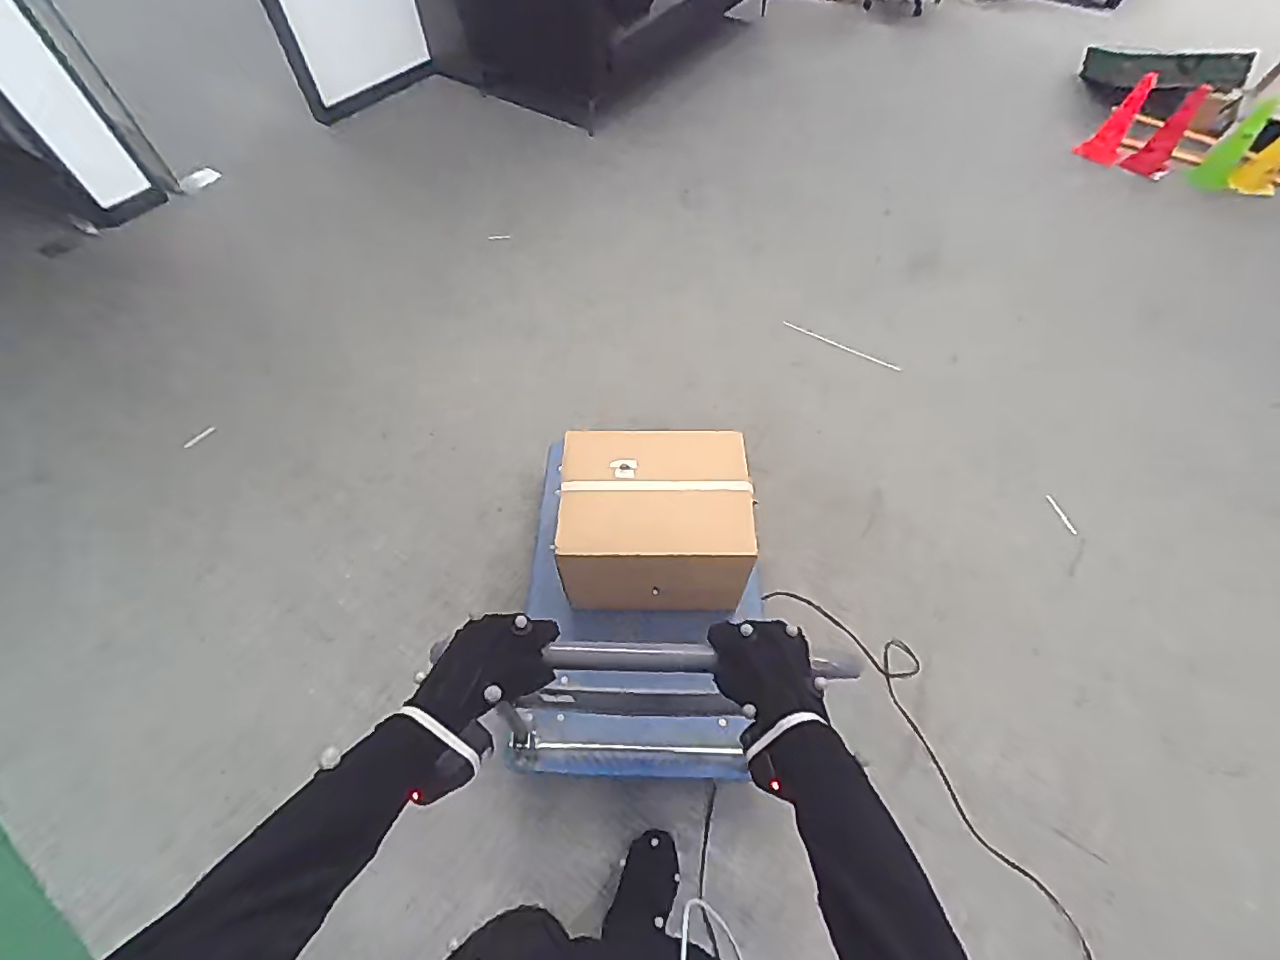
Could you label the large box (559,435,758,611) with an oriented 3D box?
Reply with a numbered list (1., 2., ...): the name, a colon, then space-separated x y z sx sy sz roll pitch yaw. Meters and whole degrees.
1. large box: 0.038 0.111 1.278 0.408 0.320 0.320 -1 56 1
